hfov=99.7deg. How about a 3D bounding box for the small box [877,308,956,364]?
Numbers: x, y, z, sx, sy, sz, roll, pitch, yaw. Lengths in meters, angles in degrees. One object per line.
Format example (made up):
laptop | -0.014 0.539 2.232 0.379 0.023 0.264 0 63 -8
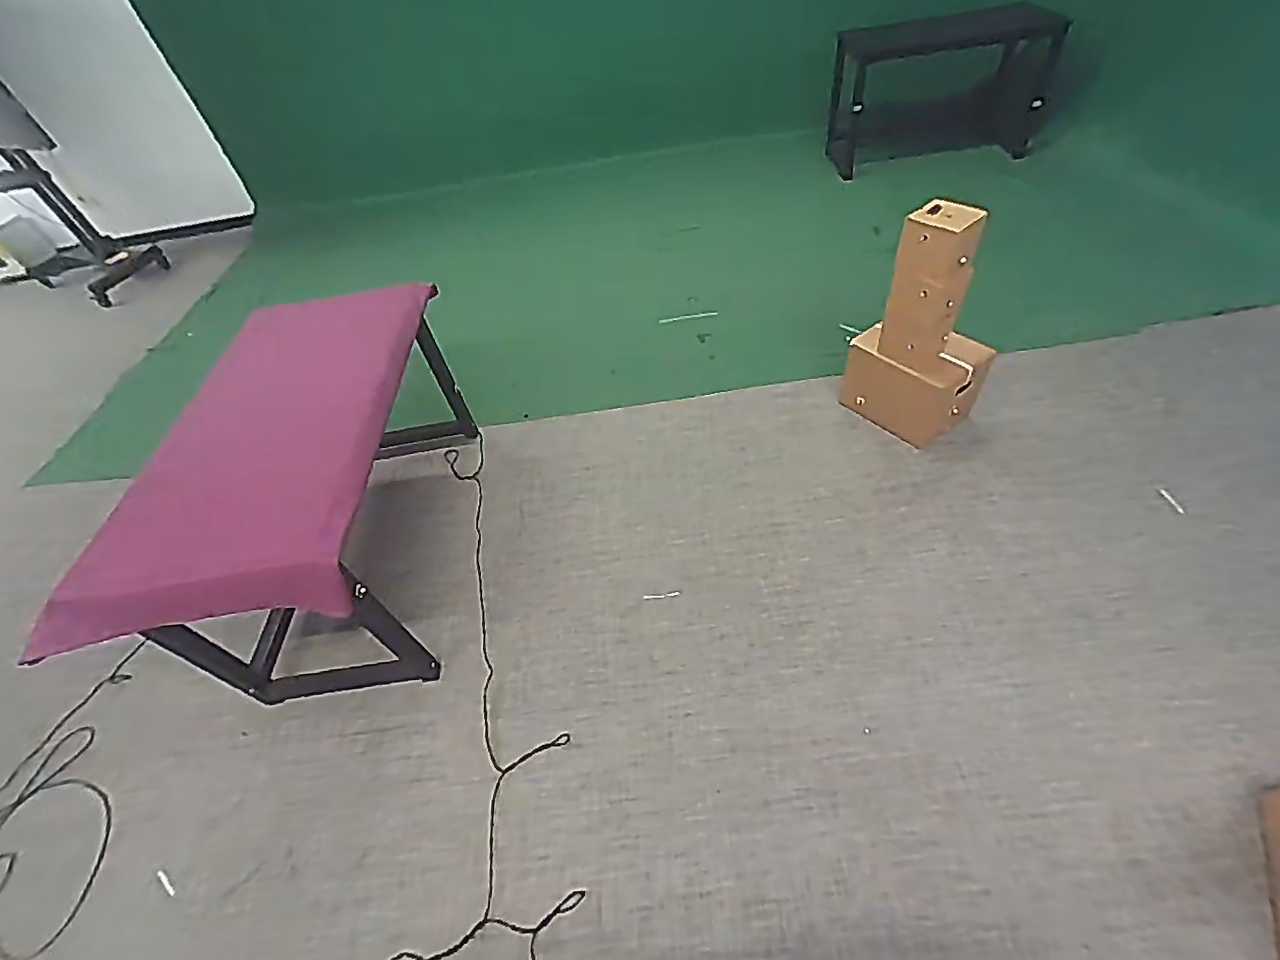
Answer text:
small box | 0.992 -0.545 1.952 0.168 0.176 0.179 -32 51 -18

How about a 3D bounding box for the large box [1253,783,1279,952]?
large box | 1.485 0.822 1.013 0.320 0.320 0.408 18 53 22

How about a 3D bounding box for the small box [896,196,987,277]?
small box | 0.949 -0.772 1.719 0.168 0.176 0.179 -35 54 -20

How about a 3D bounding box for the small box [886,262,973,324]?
small box | 0.971 -0.652 1.829 0.168 0.176 0.179 -30 51 -17
